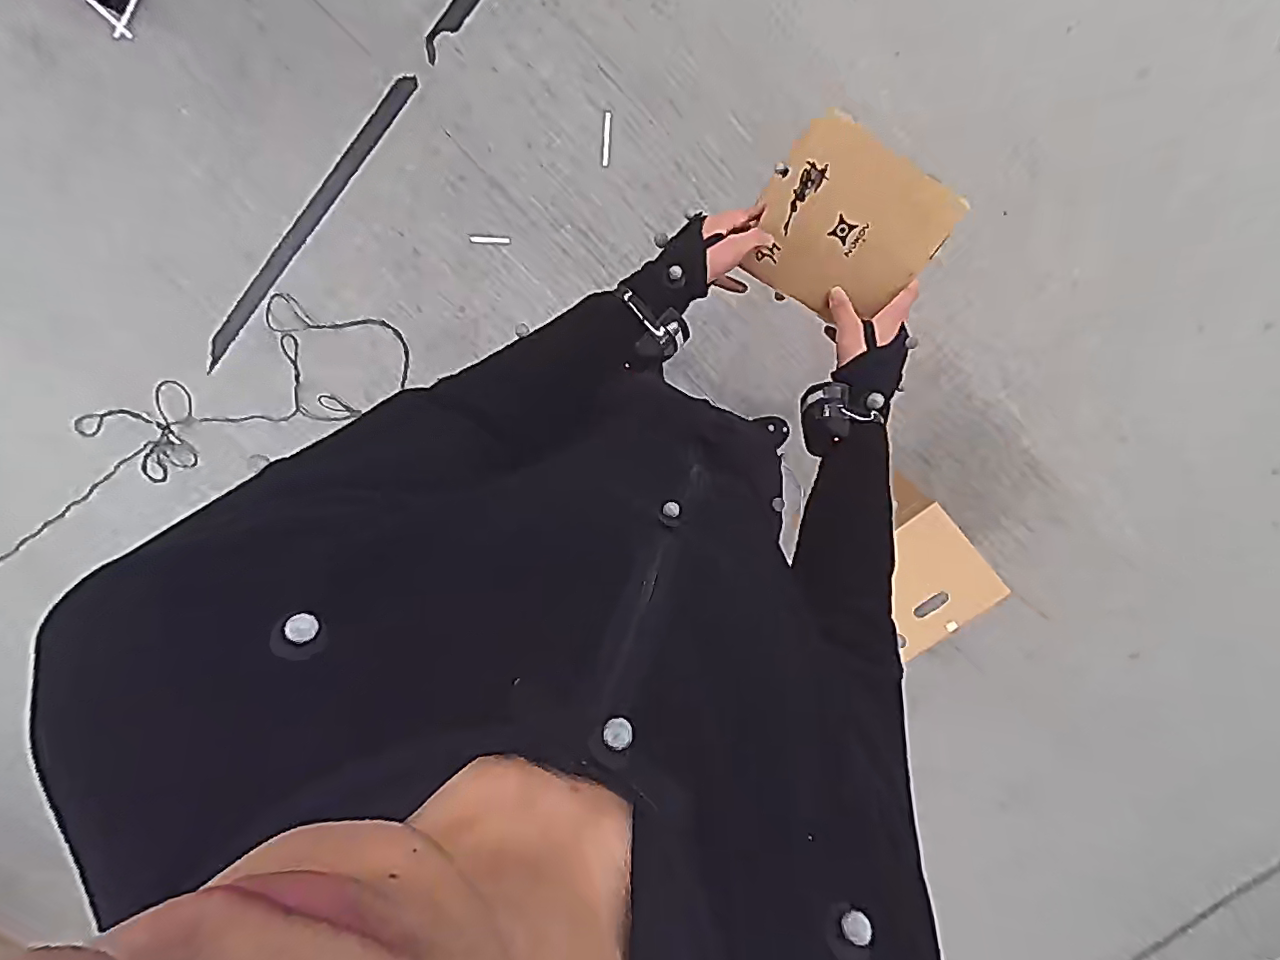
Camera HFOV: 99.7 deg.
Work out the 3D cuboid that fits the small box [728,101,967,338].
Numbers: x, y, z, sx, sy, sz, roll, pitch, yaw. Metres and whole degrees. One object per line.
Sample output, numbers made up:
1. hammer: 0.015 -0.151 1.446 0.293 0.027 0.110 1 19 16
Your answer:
1. small box: 0.219 -0.296 0.623 0.179 0.176 0.168 28 118 -9
